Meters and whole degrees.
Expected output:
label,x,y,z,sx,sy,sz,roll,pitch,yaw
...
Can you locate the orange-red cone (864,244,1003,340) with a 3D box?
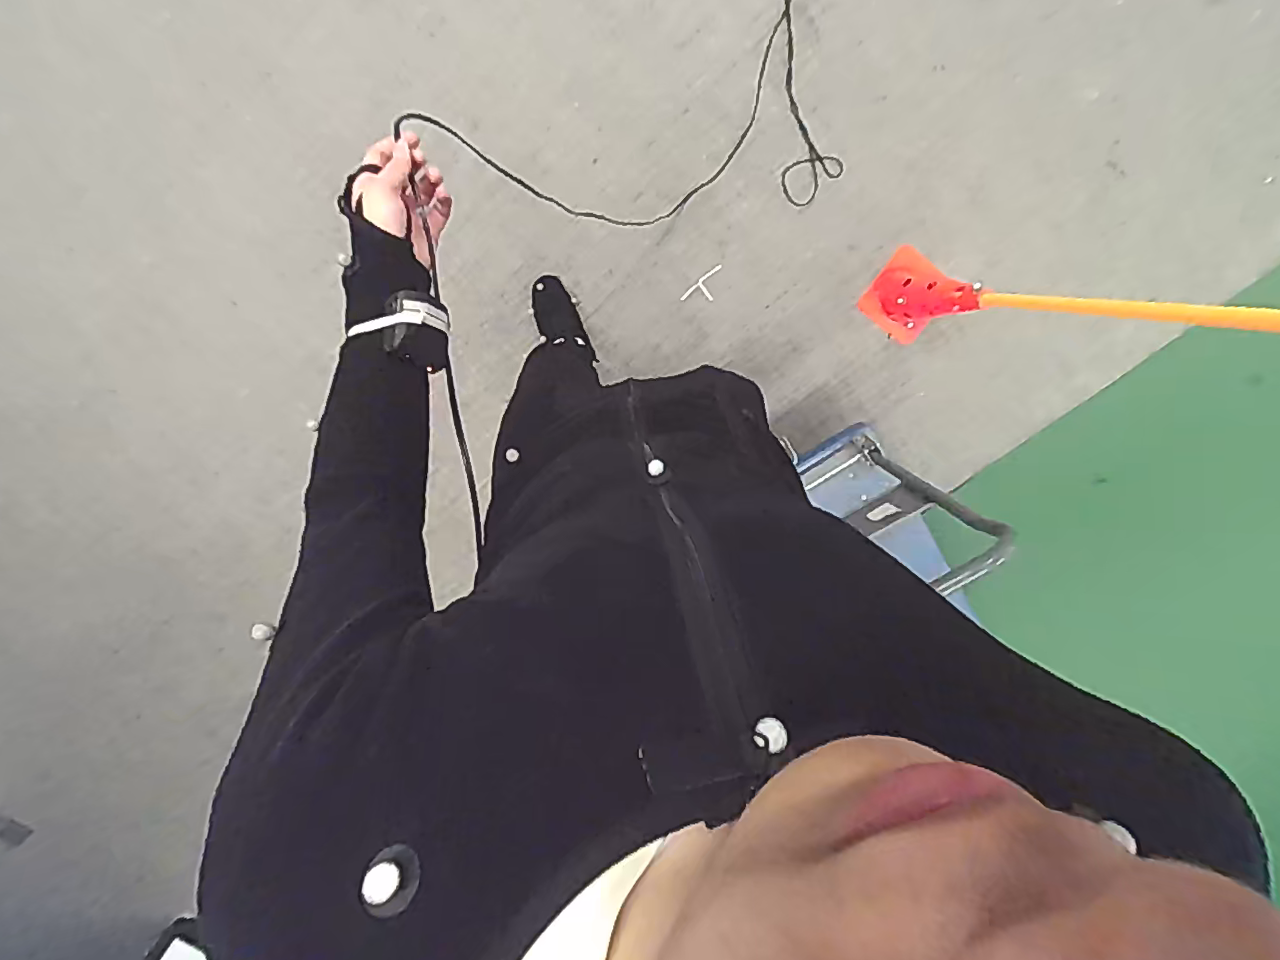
label,x,y,z,sx,sy,sz,roll,pitch,yaw
orange-red cone,0.744,-0.451,1.311,0.198,0.360,0.199,33,104,-14
